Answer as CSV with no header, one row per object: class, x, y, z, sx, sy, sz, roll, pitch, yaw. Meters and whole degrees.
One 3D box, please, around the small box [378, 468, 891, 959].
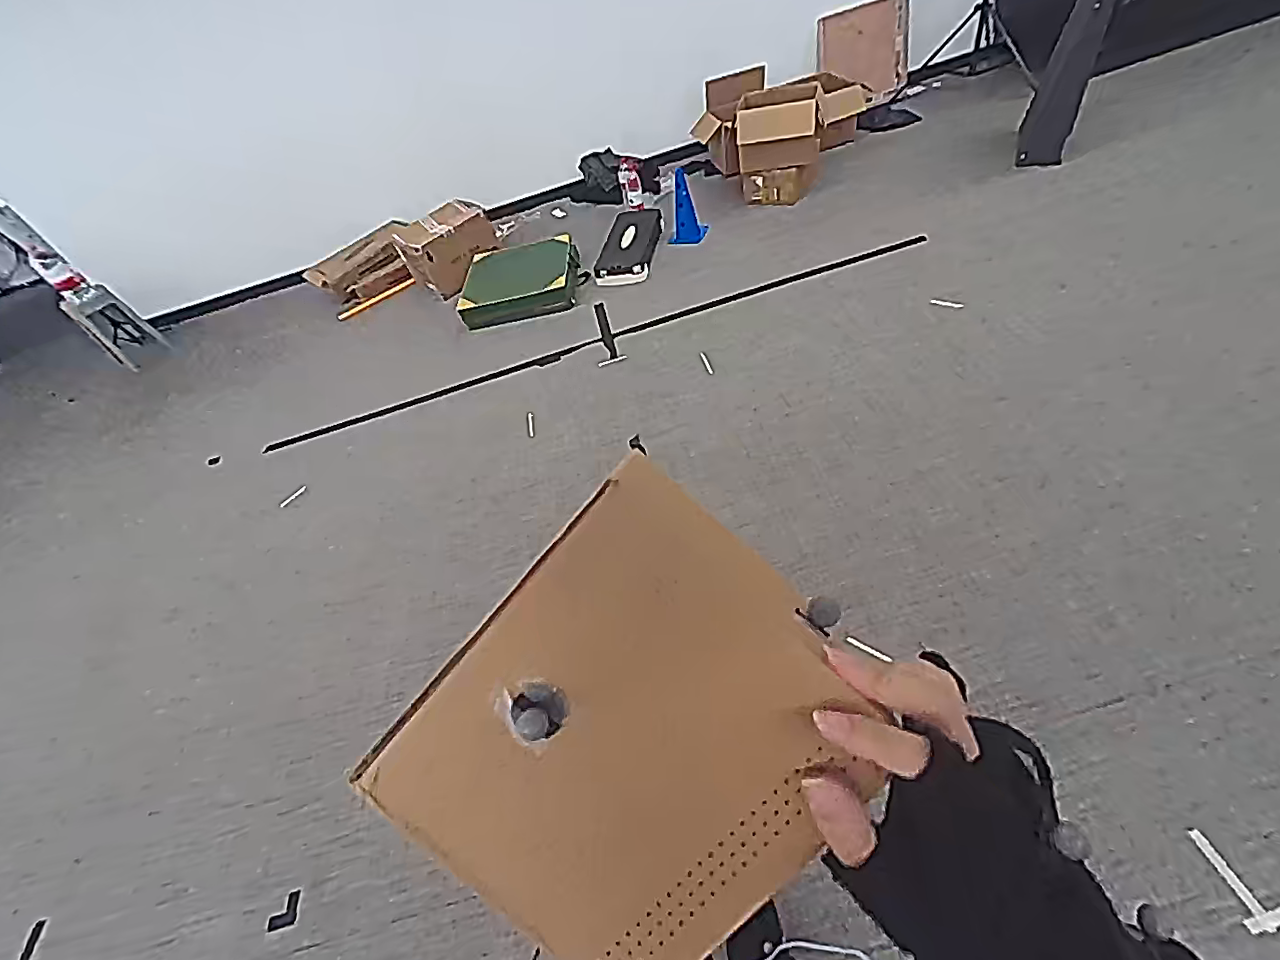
small box,0.001,0.117,0.316,0.176,0.168,0.179,41,97,-3
